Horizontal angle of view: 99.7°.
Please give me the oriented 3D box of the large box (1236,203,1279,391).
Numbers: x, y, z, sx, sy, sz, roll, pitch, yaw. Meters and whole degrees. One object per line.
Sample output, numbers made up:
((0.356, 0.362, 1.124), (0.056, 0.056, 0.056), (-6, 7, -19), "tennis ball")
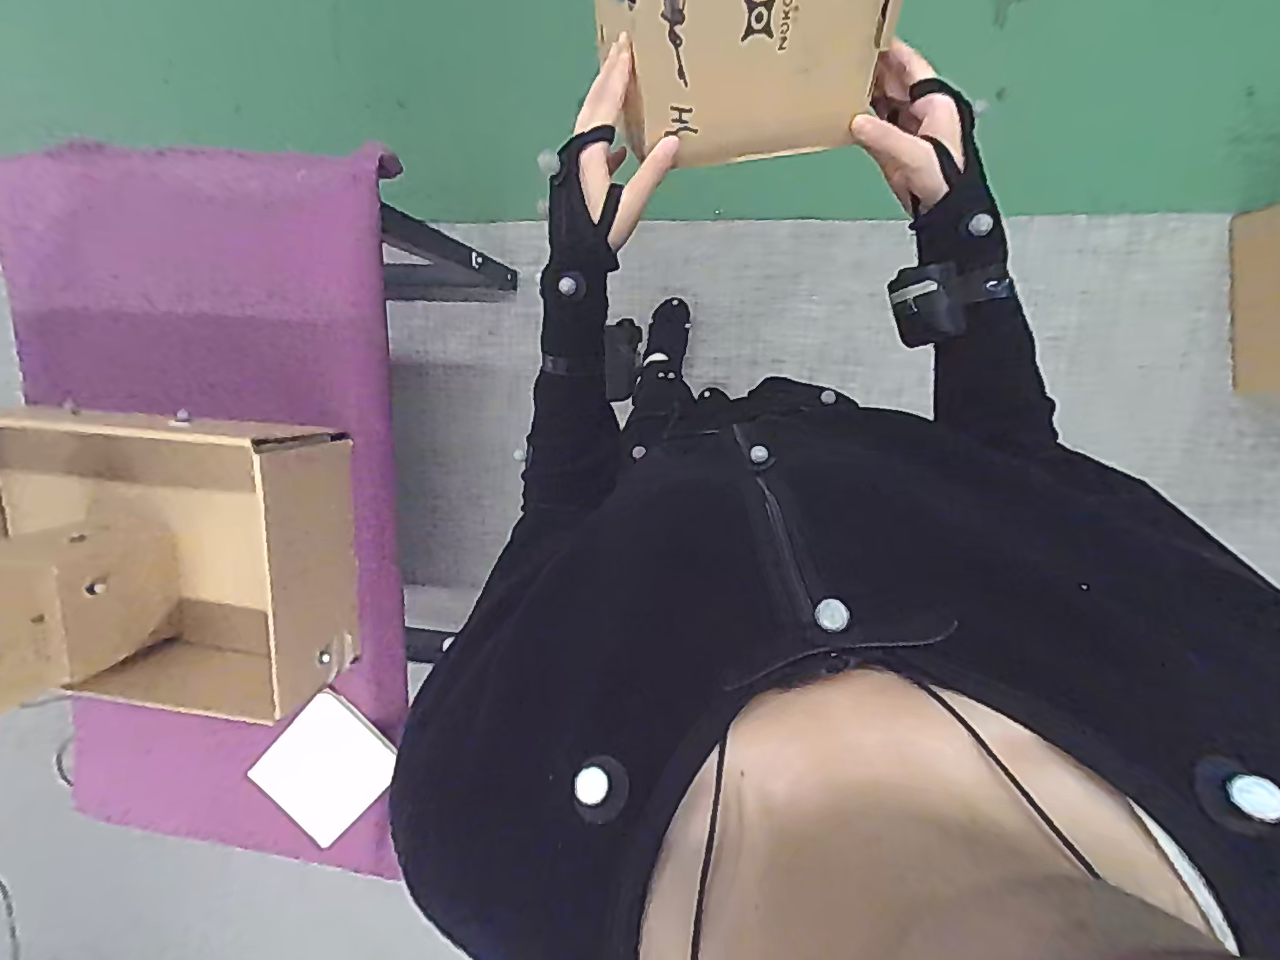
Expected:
((1.511, -0.406, 1.075), (0.320, 0.320, 0.408), (-11, 97, 10), "large box")

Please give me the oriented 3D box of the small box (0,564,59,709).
((-0.868, 0.200, 0.655), (0.179, 0.176, 0.168), (6, 101, 6), "small box")

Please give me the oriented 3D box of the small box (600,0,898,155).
((0.070, -0.364, 0.397), (0.179, 0.176, 0.168), (-11, 138, -7), "small box")
